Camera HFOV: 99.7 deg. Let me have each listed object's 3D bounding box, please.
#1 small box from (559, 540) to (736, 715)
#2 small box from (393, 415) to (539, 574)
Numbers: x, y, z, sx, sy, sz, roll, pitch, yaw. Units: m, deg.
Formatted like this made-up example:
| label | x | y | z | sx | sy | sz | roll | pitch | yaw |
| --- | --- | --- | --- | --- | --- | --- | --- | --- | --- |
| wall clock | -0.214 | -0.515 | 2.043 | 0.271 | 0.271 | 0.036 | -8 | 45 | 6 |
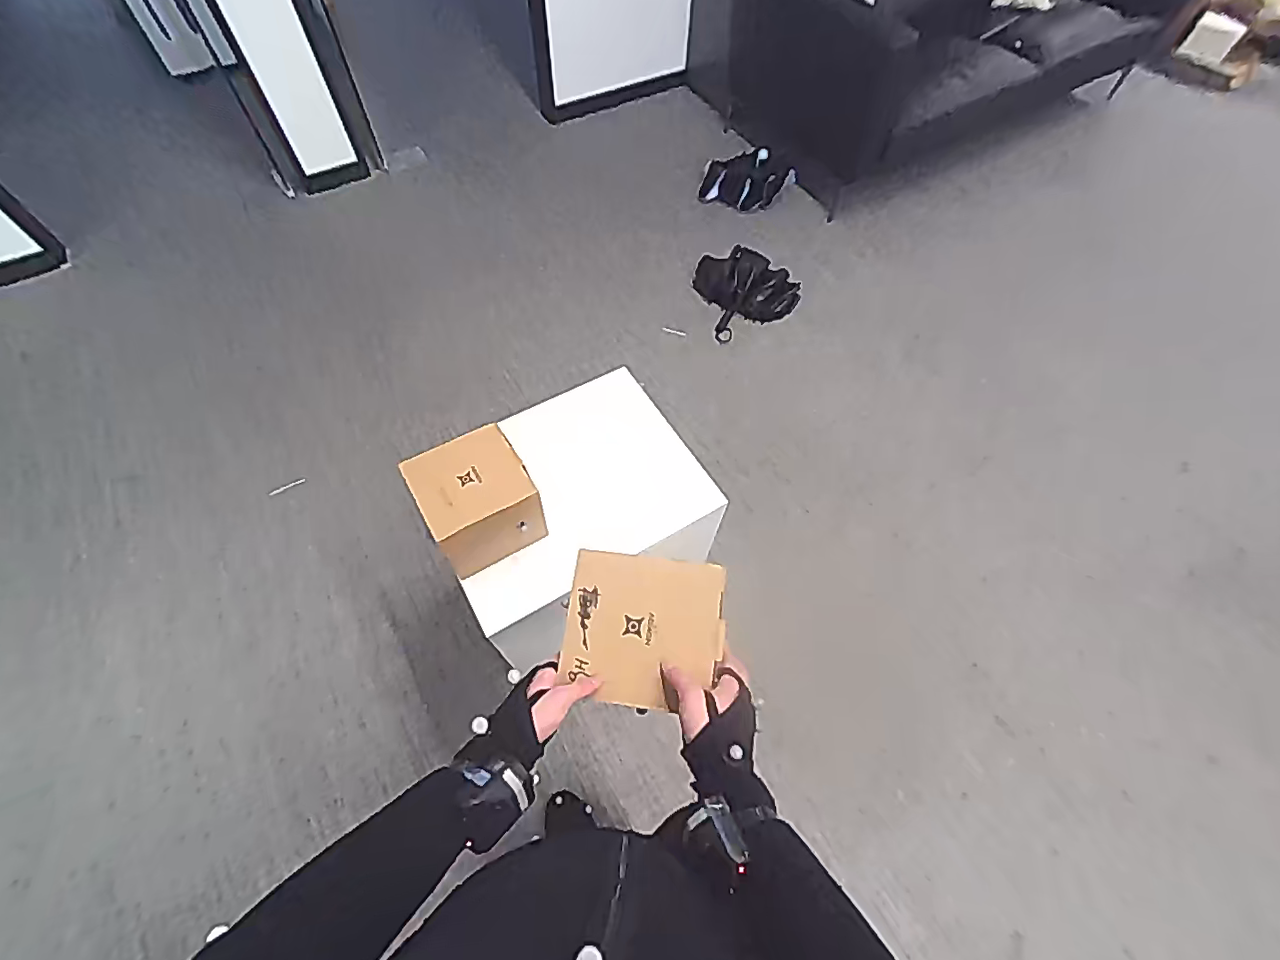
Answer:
| label | x | y | z | sx | sy | sz | roll | pitch | yaw |
| --- | --- | --- | --- | --- | --- | --- | --- | --- | --- |
| small box | 0.015 | 0.180 | 0.667 | 0.179 | 0.176 | 0.168 | 7 | 72 | 6 |
| small box | -0.281 | 0.028 | 0.913 | 0.179 | 0.176 | 0.168 | -28 | 65 | -20 |
